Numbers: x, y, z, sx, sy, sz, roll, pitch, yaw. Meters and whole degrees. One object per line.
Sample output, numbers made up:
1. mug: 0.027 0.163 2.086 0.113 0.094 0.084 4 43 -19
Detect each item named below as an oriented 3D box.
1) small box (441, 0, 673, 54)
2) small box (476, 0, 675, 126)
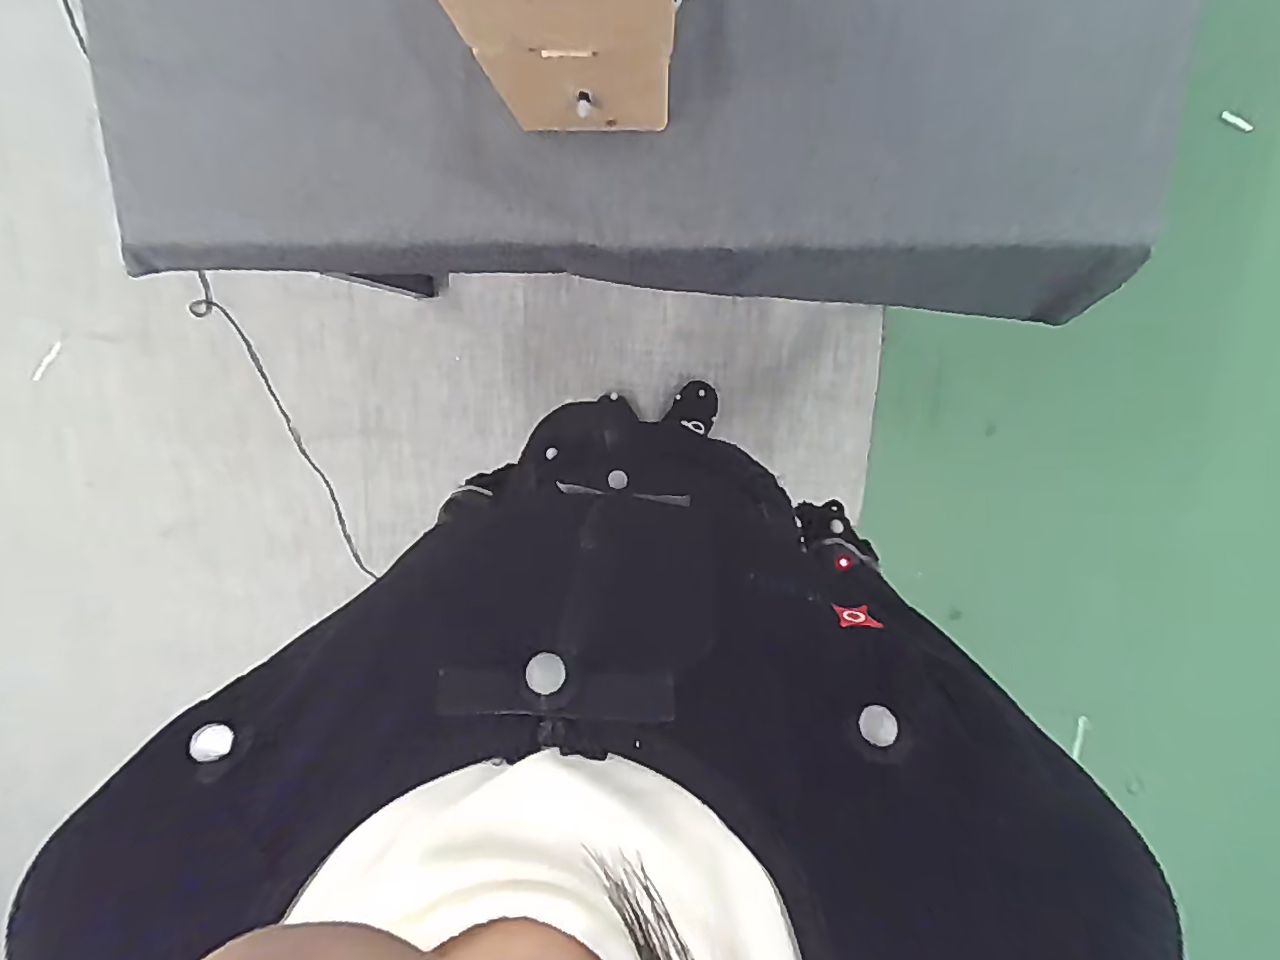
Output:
1. small box: -0.060 -0.421 0.359 0.179 0.176 0.168 5 102 5
2. small box: -0.052 -0.463 0.518 0.168 0.176 0.179 1 102 5
